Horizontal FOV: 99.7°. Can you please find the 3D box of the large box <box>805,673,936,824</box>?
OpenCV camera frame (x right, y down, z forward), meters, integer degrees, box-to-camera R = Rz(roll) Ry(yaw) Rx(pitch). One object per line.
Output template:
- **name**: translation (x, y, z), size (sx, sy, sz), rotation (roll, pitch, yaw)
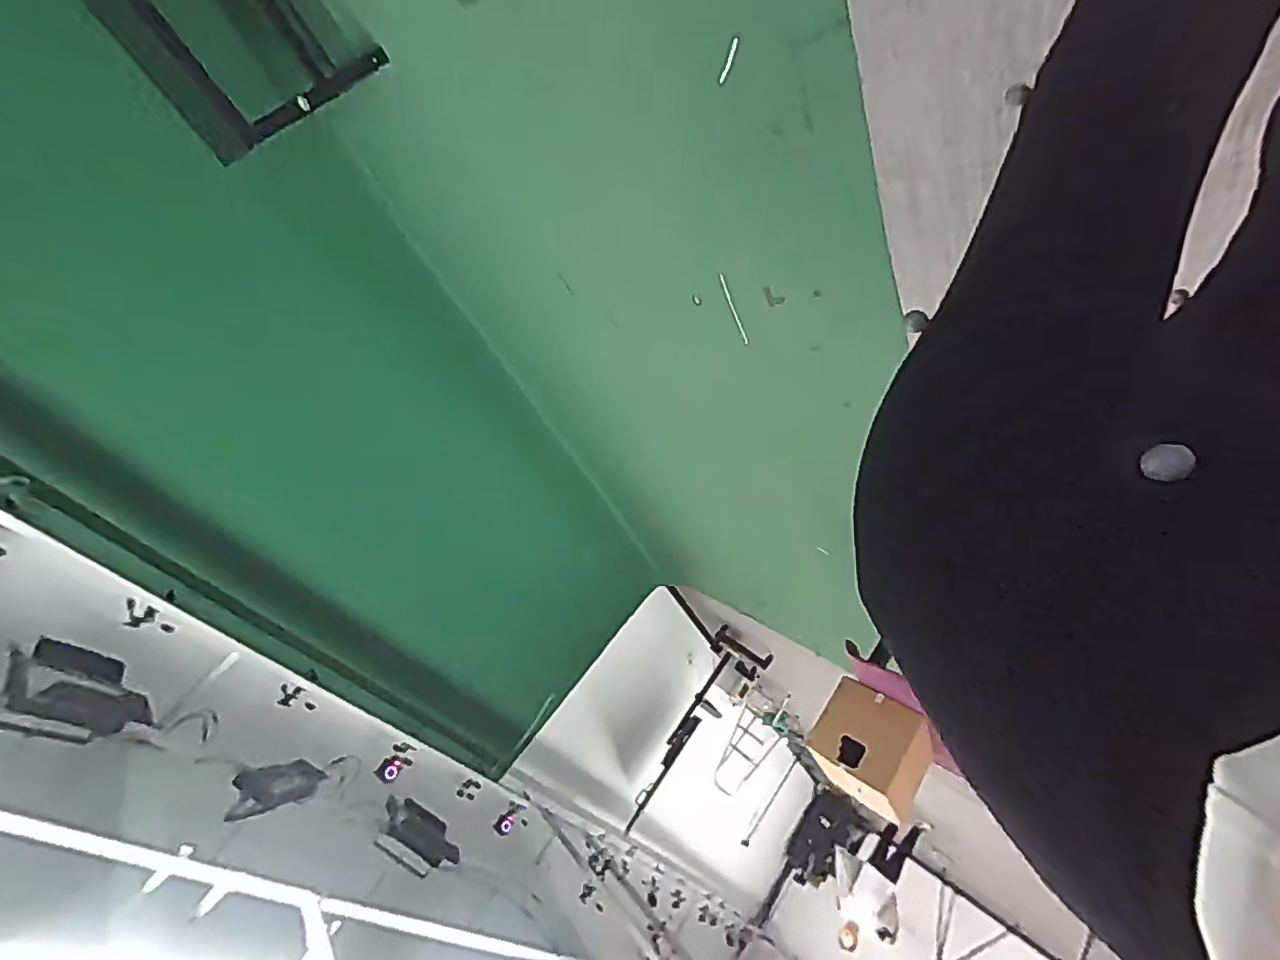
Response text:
- **large box**: translation (0.890, 1.020, 2.066), size (0.320, 0.320, 0.408), rotation (18, 149, 45)
